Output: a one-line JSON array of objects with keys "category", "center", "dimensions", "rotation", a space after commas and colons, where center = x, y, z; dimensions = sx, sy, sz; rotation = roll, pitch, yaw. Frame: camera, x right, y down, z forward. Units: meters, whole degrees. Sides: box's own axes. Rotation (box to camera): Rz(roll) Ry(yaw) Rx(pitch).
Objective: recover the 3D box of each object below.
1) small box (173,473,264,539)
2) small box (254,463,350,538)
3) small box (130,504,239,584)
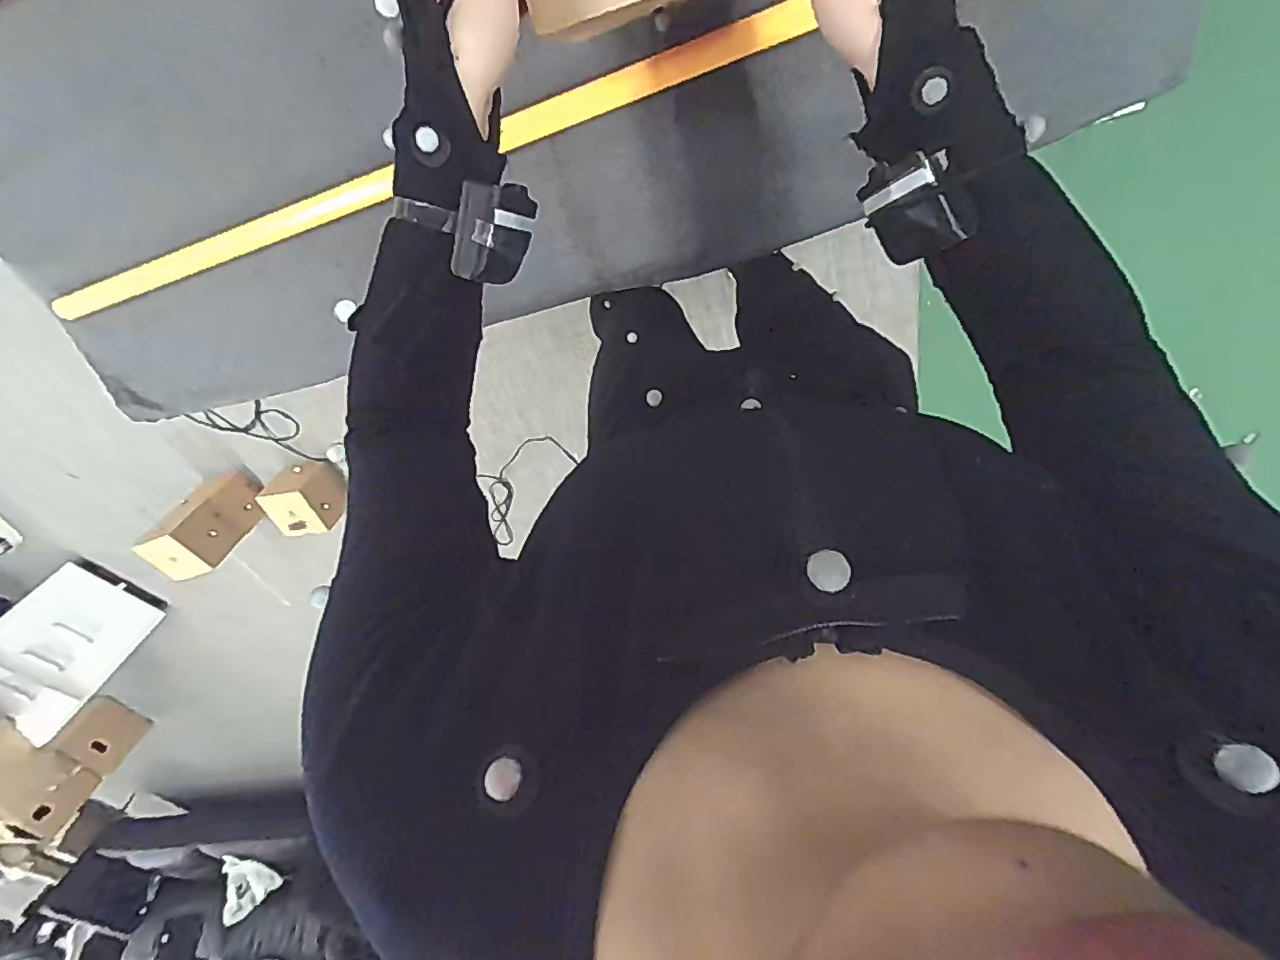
[{"category": "small box", "center": [-1.411, 0.099, 1.836], "dimensions": [0.179, 0.176, 0.168], "rotation": [-14, 126, 17]}, {"category": "small box", "center": [-1.100, 0.068, 1.780], "dimensions": [0.168, 0.176, 0.179], "rotation": [-7, 127, 11]}, {"category": "small box", "center": [-1.417, 0.197, 1.703], "dimensions": [0.179, 0.176, 0.168], "rotation": [-15, 126, 18]}]
